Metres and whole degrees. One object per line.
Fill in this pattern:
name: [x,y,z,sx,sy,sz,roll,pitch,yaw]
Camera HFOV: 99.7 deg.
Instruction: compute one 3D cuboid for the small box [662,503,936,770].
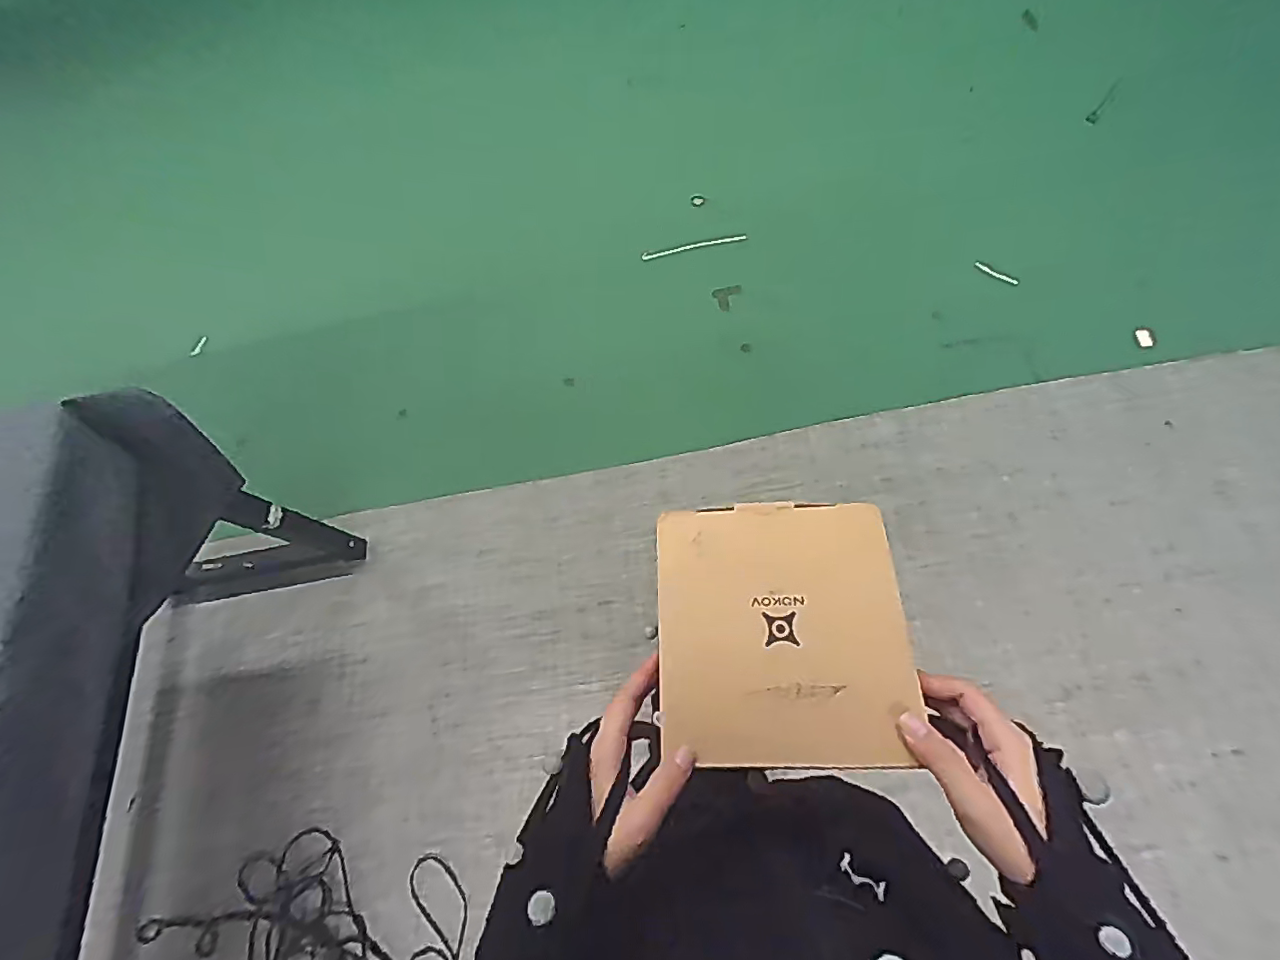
small box: [0.103,0.132,0.435,0.168,0.176,0.179,-2,63,5]
